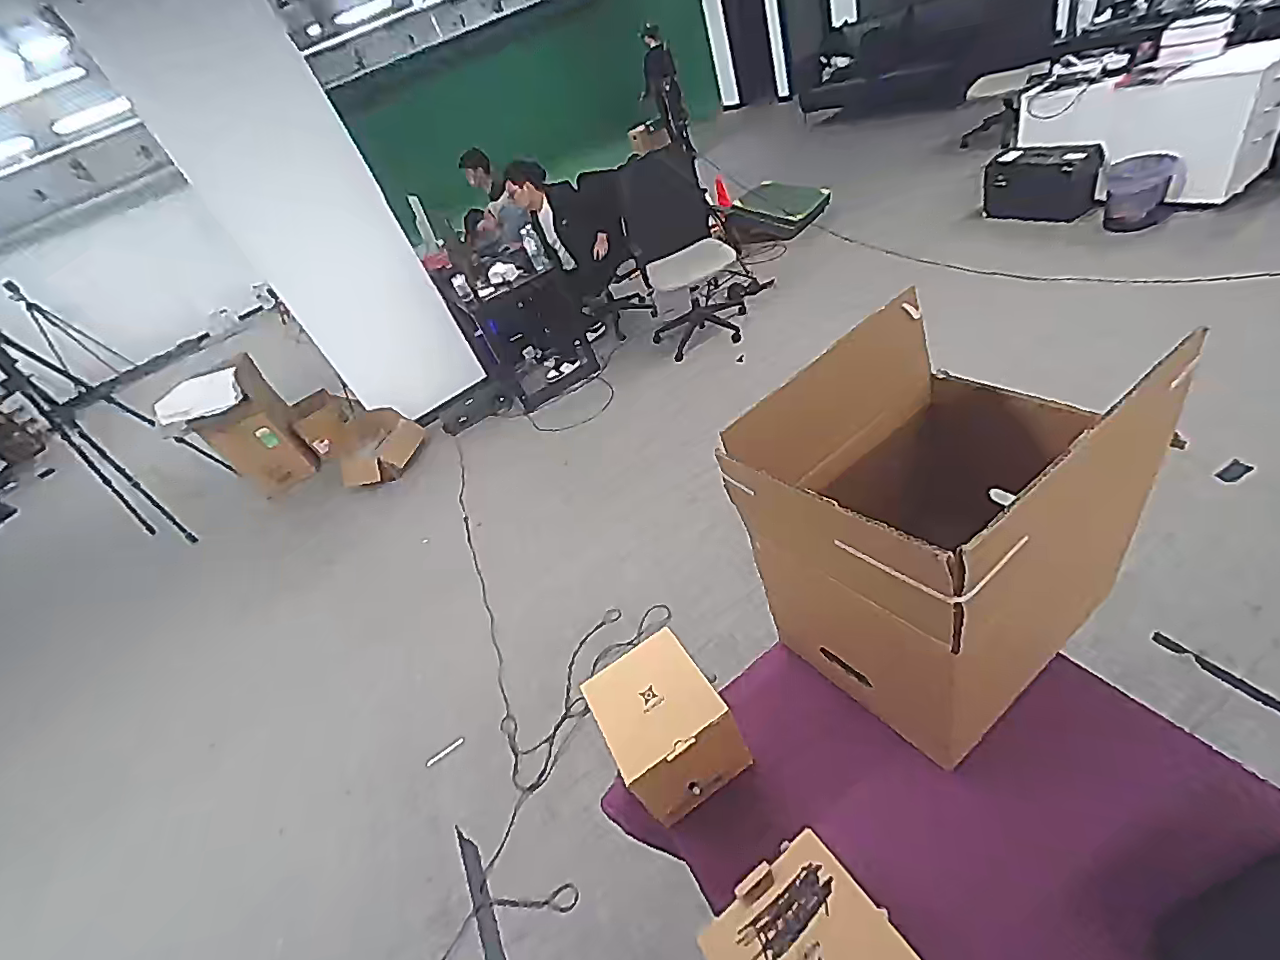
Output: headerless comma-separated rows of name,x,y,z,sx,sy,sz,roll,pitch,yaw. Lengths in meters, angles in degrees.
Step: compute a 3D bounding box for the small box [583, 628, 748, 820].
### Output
small box,0.041,0.371,0.825,0.168,0.176,0.179,-32,40,-11
